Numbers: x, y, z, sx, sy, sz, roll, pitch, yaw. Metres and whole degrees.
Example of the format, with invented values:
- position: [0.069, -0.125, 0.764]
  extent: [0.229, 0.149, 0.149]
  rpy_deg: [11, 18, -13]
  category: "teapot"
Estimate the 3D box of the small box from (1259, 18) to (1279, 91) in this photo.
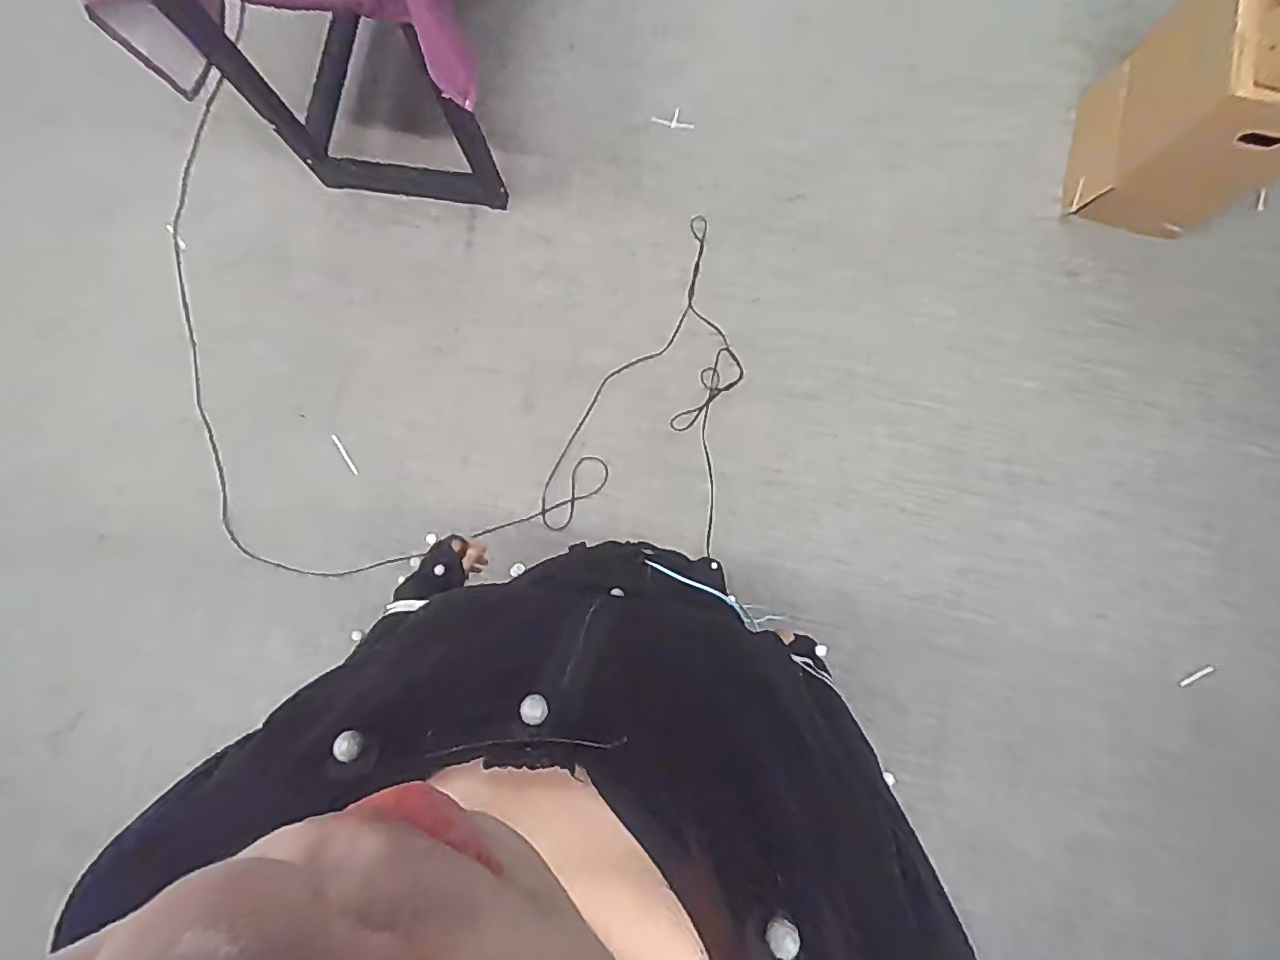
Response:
- position: [1.395, -0.887, 1.059]
  extent: [0.179, 0.176, 0.168]
  rpy_deg: [16, 82, 3]
  category: "small box"
